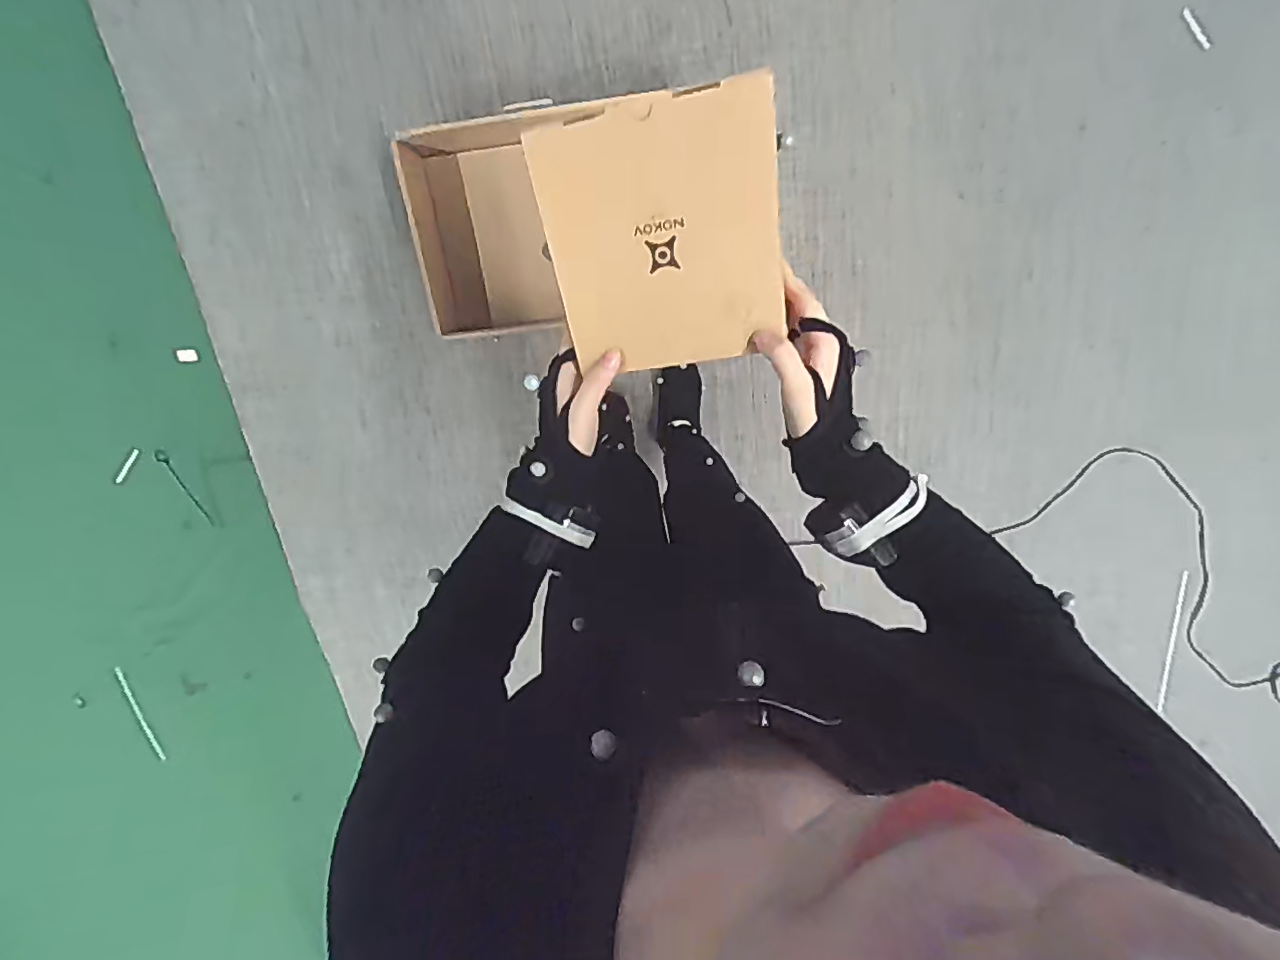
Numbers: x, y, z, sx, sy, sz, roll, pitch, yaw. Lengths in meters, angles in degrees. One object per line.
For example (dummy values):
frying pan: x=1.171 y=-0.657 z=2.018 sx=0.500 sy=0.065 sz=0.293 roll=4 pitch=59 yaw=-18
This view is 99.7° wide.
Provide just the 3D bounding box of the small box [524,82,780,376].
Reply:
small box: x=0.027 y=-0.209 z=0.461 sx=0.168 sy=0.176 sz=0.179 roll=-6 pitch=119 yaw=13
